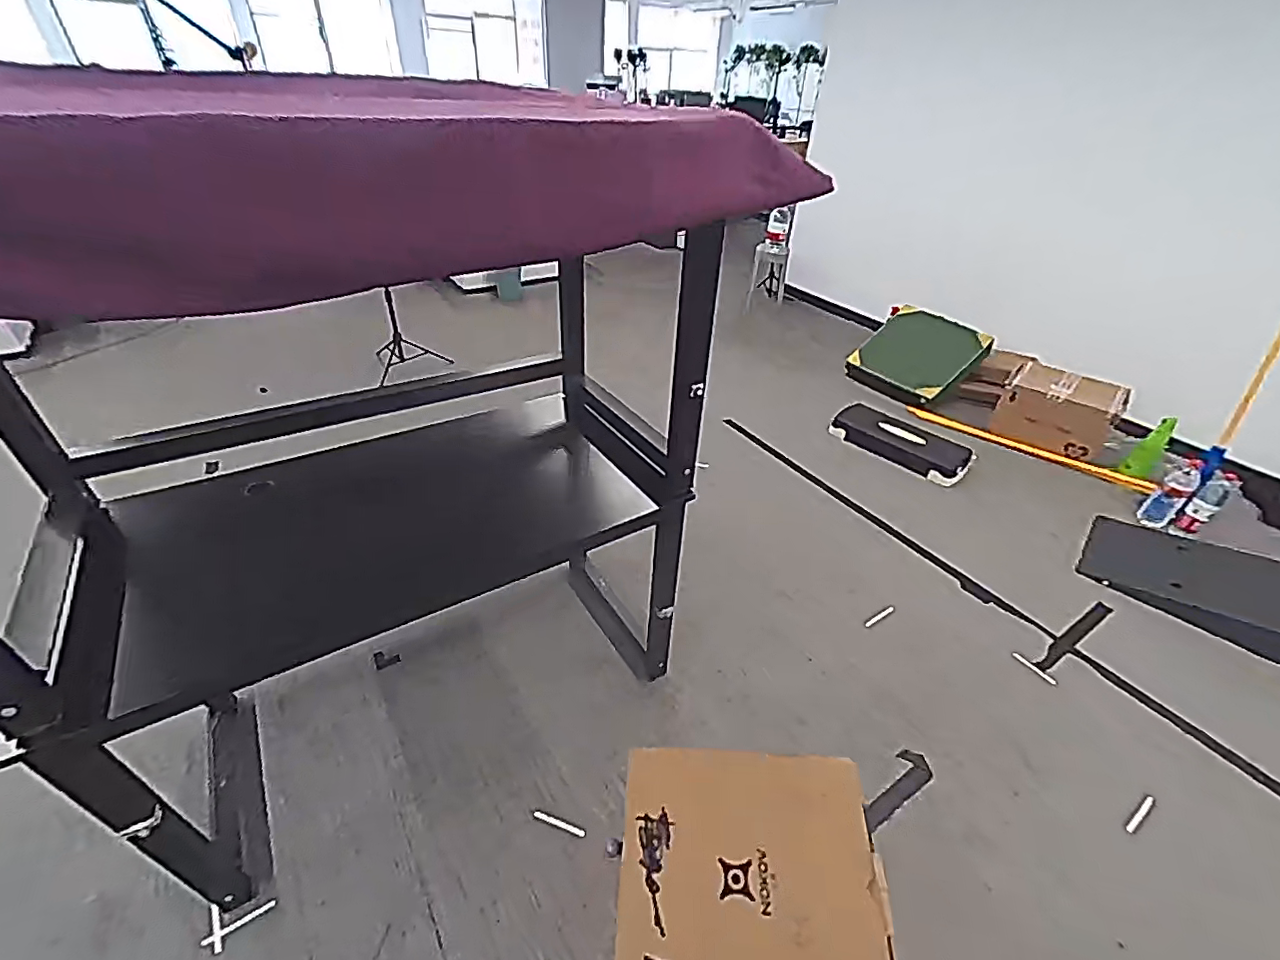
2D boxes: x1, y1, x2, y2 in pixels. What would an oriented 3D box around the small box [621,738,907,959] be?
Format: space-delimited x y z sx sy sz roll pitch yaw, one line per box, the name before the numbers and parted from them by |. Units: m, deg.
small box | 0.078 0.317 0.414 0.179 0.176 0.168 2 45 3
